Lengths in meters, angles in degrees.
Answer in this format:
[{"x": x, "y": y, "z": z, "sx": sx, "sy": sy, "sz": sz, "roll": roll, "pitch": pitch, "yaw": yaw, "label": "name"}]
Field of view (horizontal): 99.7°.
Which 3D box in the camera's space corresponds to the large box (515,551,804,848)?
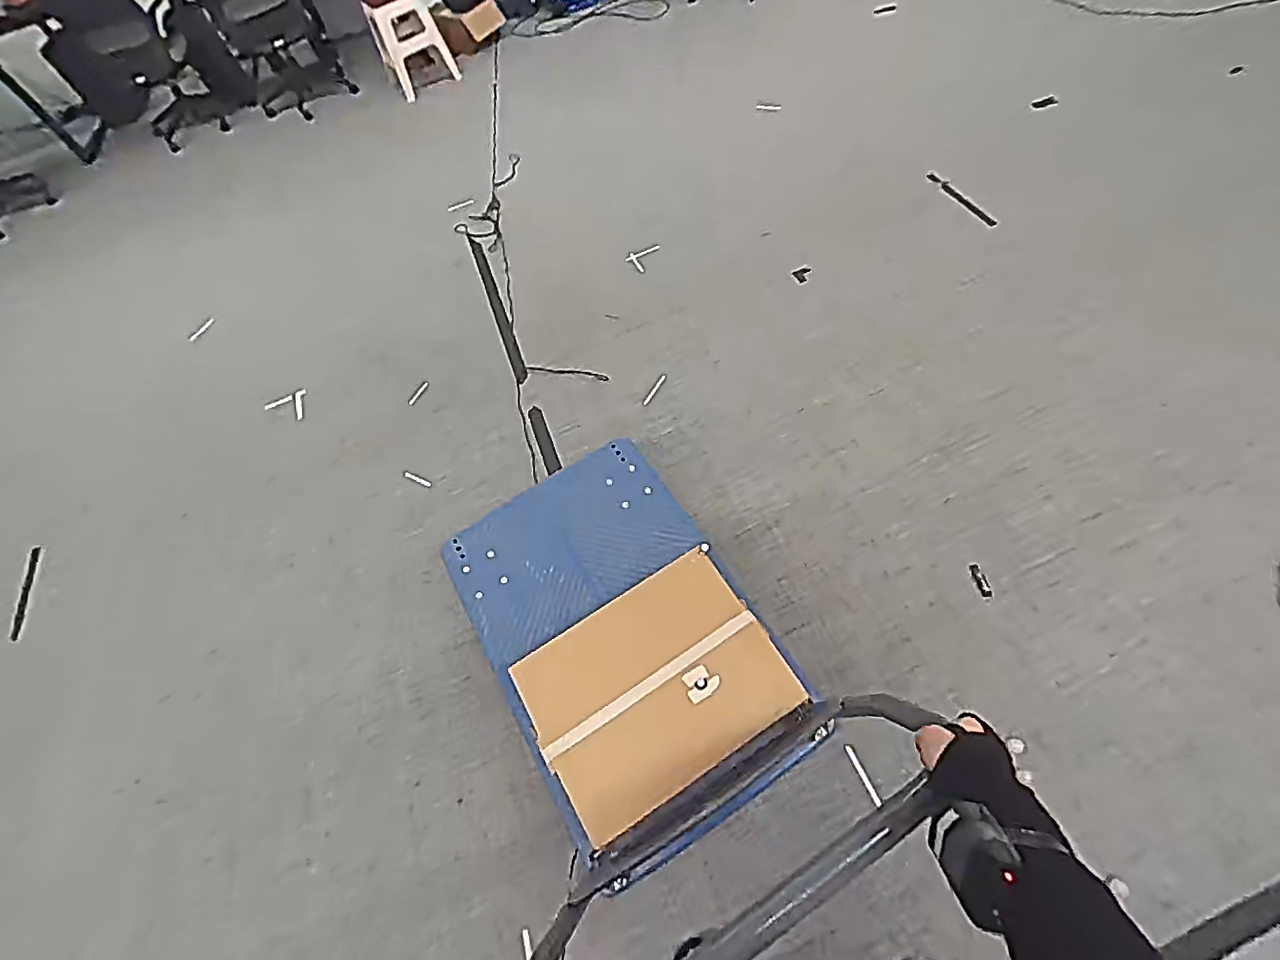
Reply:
[{"x": 0.039, "y": 0.412, "z": 1.040, "sx": 0.408, "sy": 0.320, "sz": 0.320, "roll": -32, "pitch": 65, "yaw": -10, "label": "large box"}]
